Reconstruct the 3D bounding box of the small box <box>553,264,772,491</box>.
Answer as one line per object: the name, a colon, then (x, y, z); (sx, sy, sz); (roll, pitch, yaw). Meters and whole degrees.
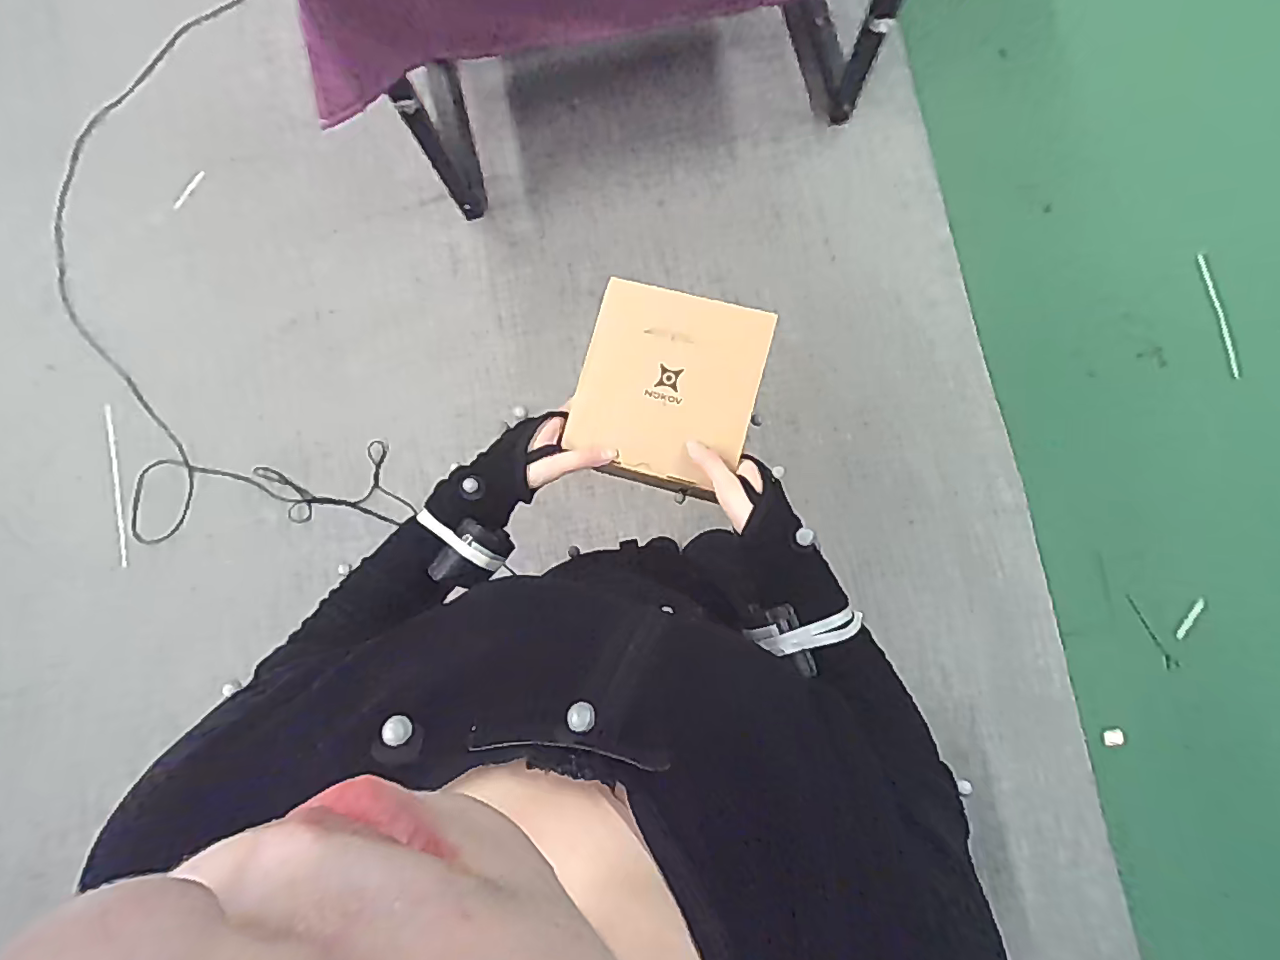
small box: (0.028, -0.094, 0.581); (0.168, 0.176, 0.179); (18, 86, 6)
